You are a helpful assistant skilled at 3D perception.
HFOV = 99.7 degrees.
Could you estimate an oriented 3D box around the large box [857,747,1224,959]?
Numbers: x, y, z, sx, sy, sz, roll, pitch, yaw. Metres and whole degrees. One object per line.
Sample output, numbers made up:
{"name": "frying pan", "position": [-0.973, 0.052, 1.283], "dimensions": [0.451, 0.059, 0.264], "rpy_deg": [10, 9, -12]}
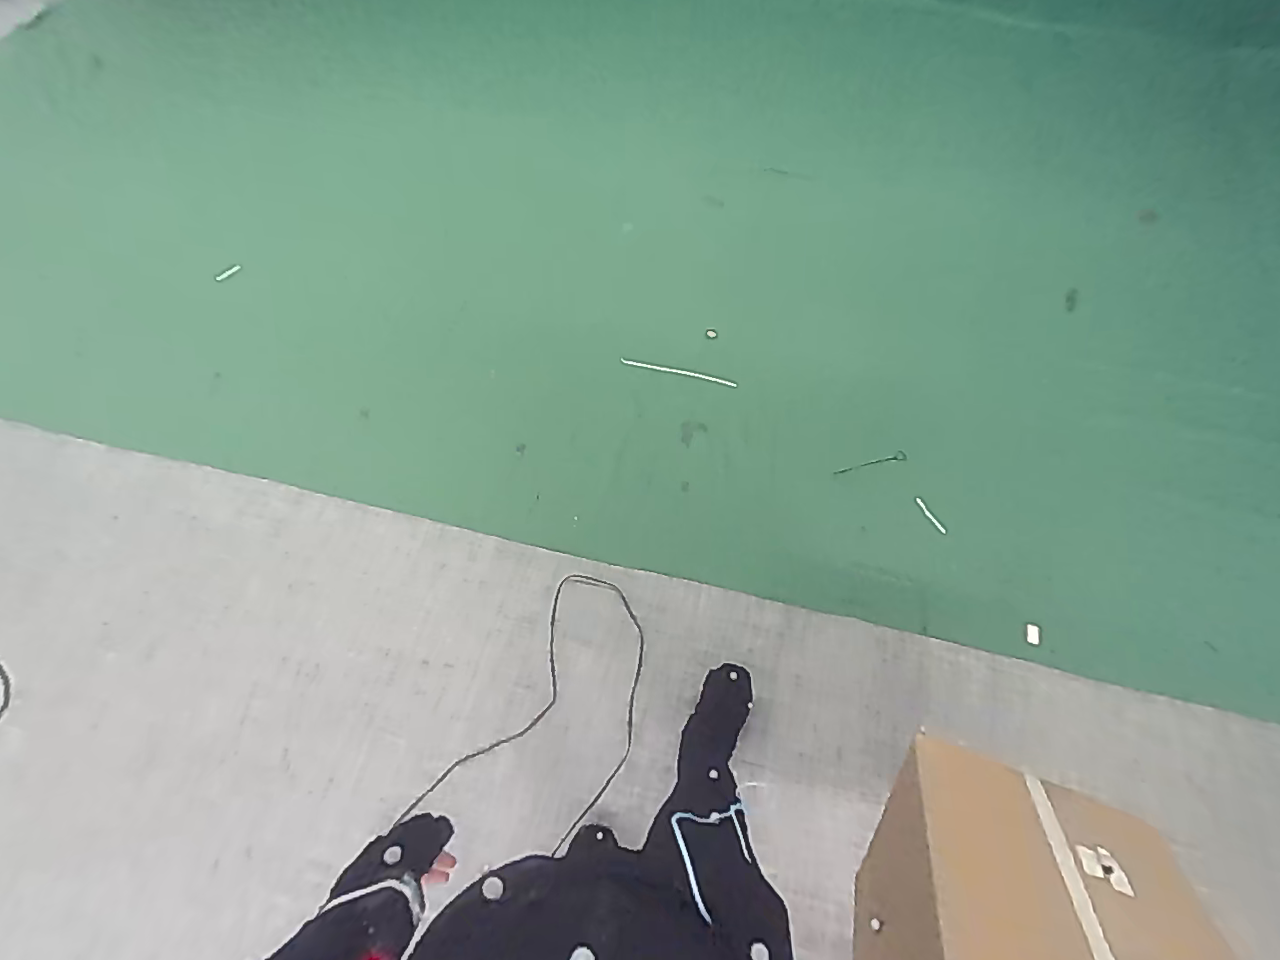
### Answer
{"name": "large box", "position": [0.460, 0.629, 0.648], "dimensions": [0.320, 0.408, 0.320], "rpy_deg": [17, 107, 18]}
